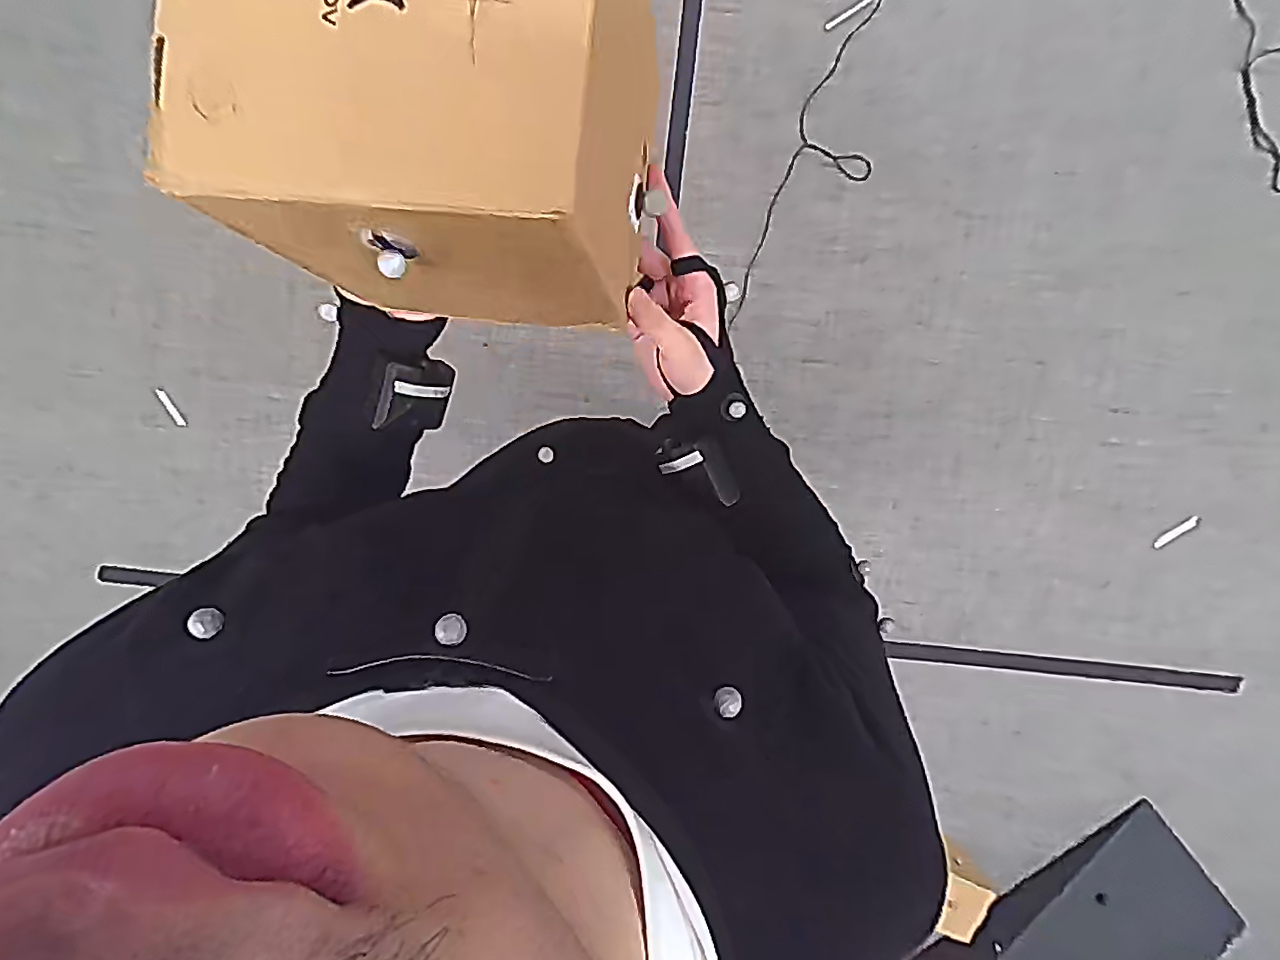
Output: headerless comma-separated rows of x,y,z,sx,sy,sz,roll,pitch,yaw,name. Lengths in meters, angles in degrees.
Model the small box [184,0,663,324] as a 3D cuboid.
-0.087,-0.191,0.294,0.179,0.176,0.168,6,92,6,small box
